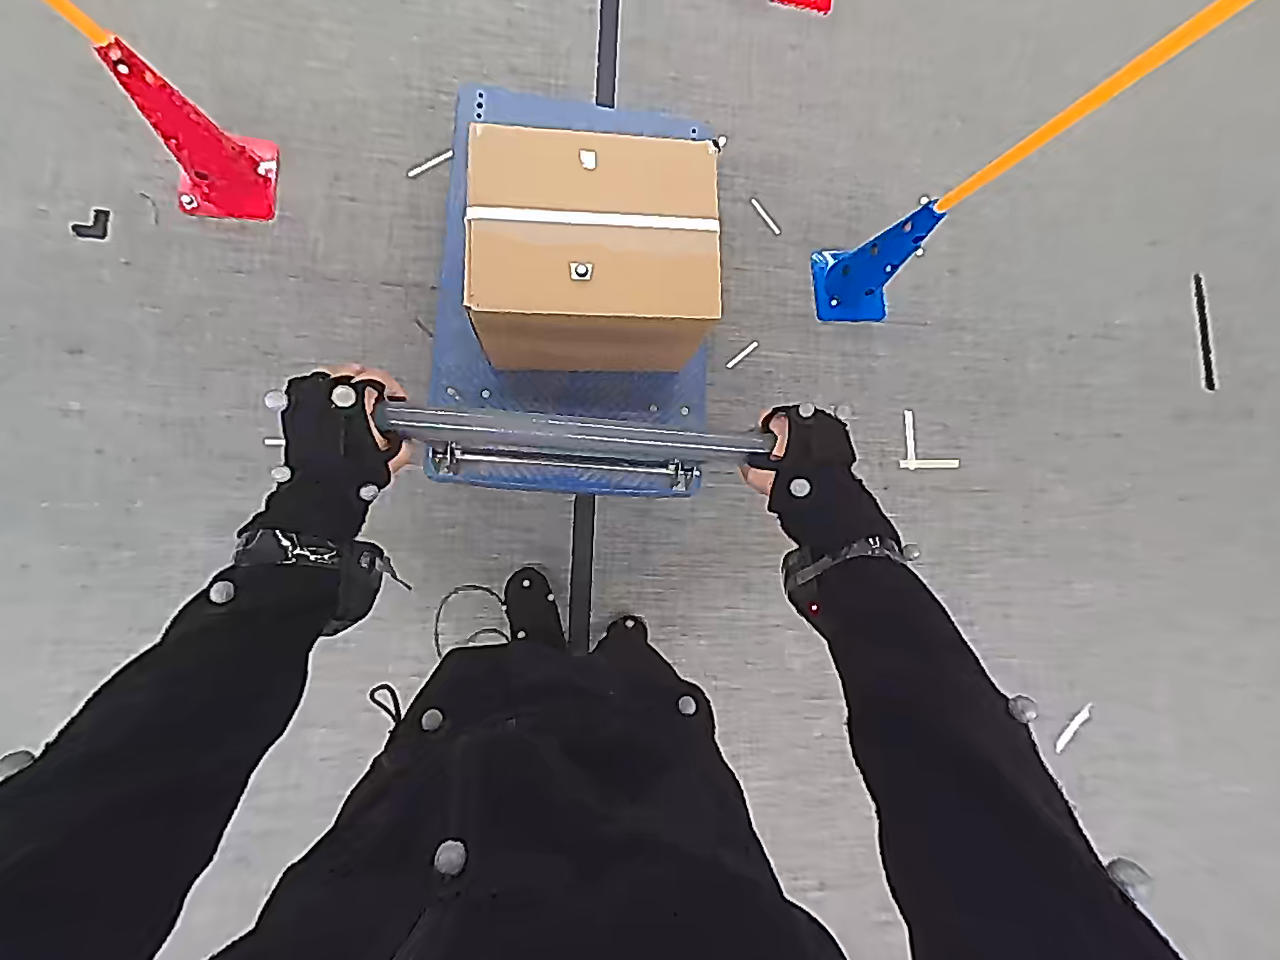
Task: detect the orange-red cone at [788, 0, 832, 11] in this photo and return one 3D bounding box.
[{"bbox_3d":[0.488,-1.459,1.370,0.199,0.360,0.198,9,83,-9],"label":"orange-red cone"}]

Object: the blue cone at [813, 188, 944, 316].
[{"bbox_3d":[0.590,-0.556,1.302,0.193,0.380,0.192,-2,83,-9],"label":"blue cone"}]
